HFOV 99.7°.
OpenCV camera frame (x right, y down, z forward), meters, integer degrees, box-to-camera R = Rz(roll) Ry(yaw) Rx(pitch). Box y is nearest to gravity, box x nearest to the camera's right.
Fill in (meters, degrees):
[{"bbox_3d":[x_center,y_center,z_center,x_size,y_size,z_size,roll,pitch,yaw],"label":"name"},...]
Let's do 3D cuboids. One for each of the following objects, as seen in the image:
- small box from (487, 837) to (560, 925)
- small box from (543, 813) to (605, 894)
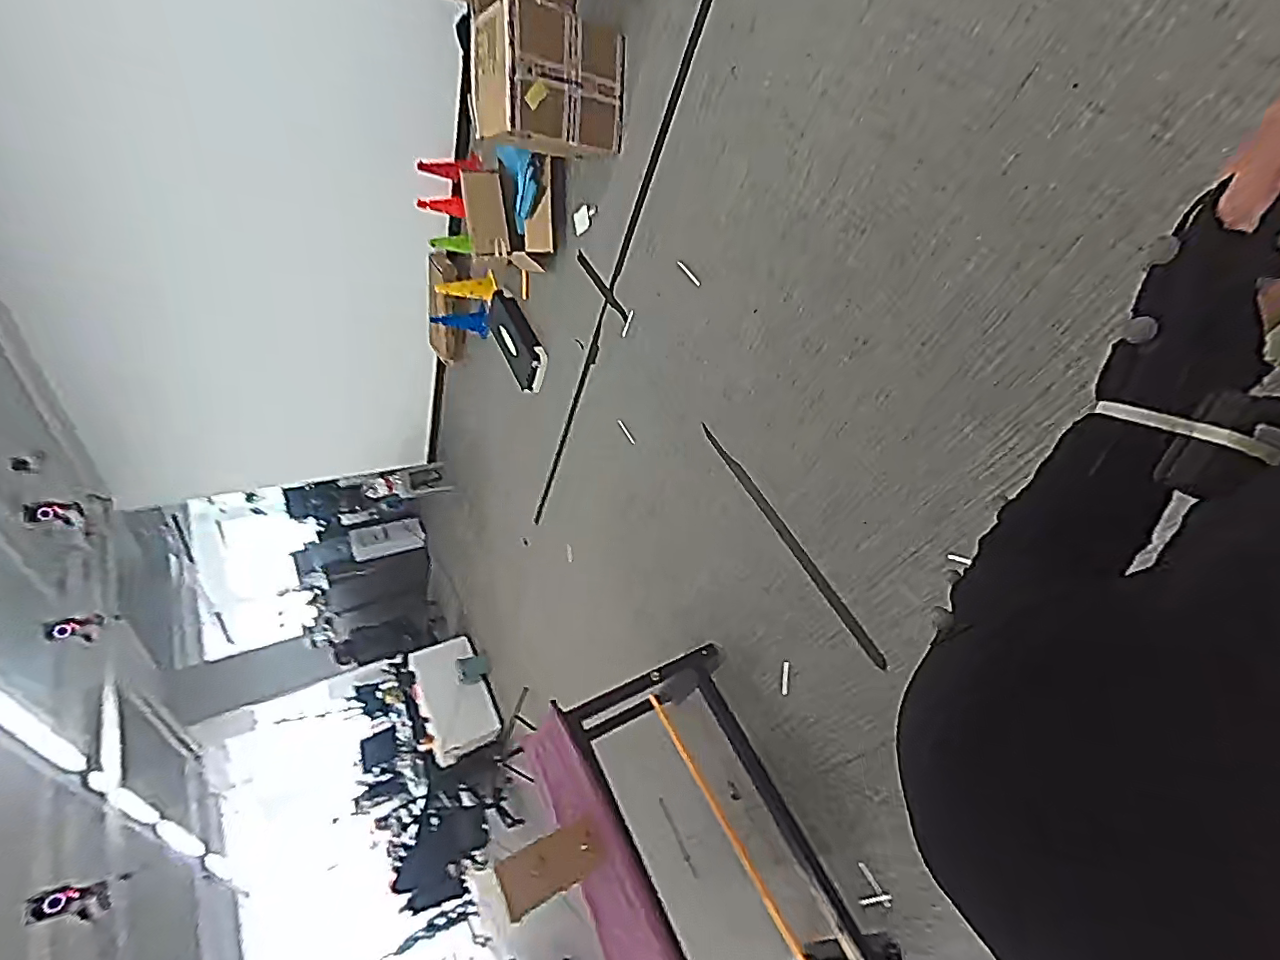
[{"bbox_3d":[-0.375,1.288,1.739,0.168,0.176,0.179,58,141,26],"label":"small box"},{"bbox_3d":[-0.238,1.263,1.828,0.168,0.176,0.179,58,142,26],"label":"small box"}]
